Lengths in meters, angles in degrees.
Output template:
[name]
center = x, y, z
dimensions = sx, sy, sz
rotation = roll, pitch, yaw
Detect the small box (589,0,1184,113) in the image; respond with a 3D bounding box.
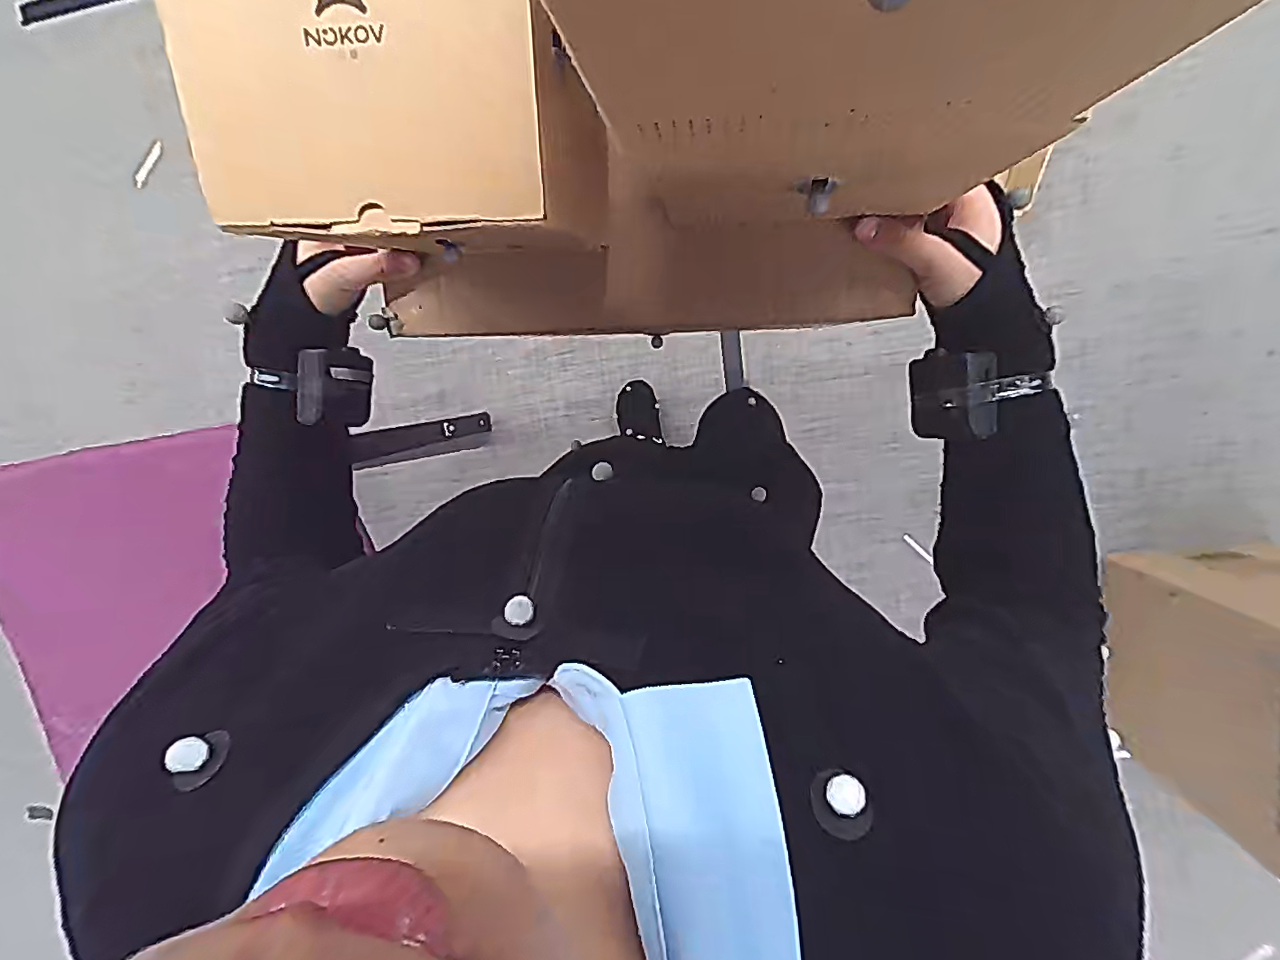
[small box]
center = 0.066, -0.200, 0.111
dimensions = 0.179, 0.176, 0.168
rotation = 2, 105, 7
